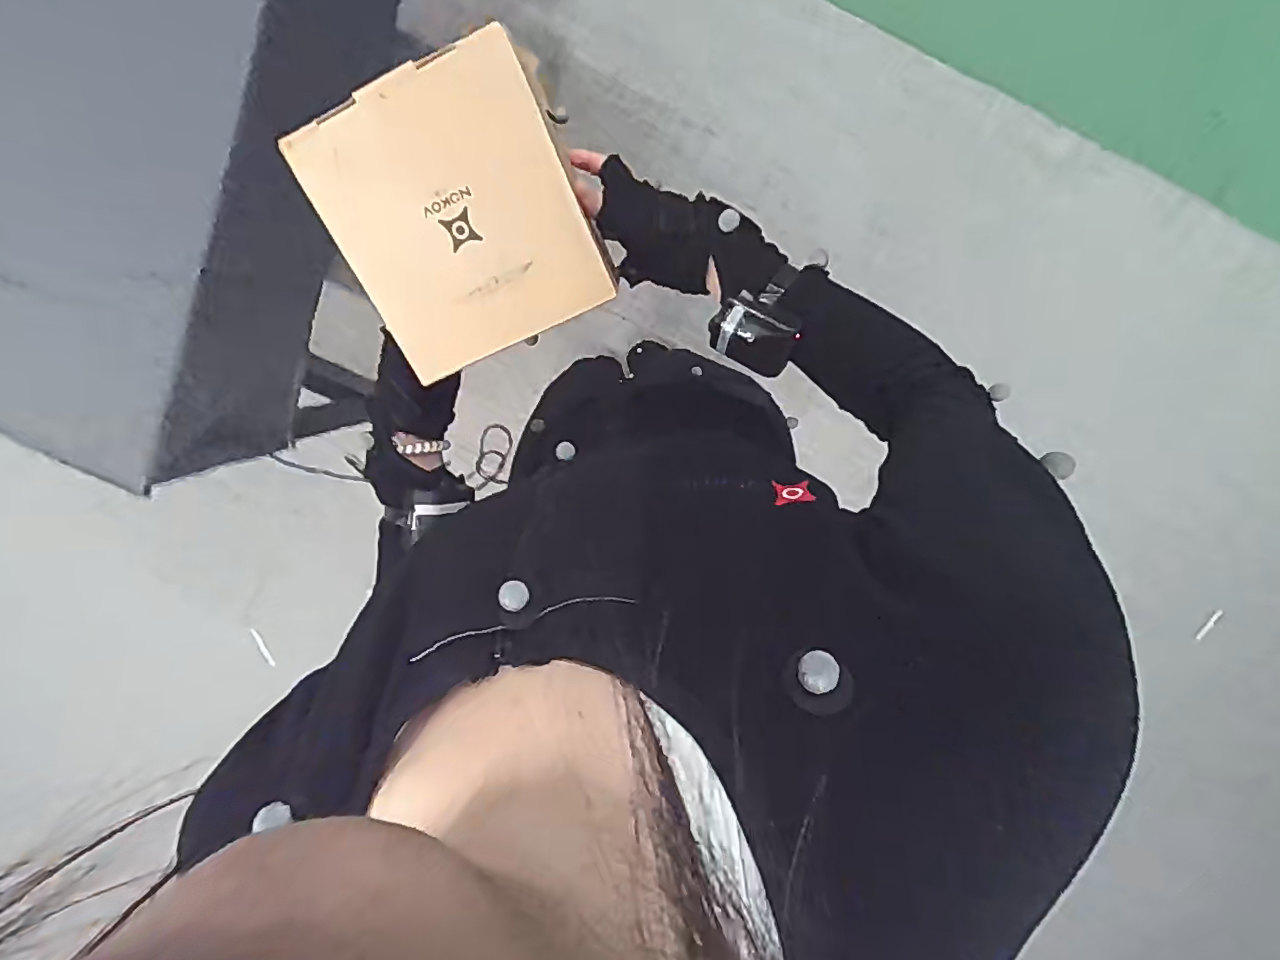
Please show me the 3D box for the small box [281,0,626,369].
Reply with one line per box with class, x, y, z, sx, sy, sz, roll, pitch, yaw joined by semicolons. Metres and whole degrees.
small box;-0.119;-0.212;0.426;0.168;0.176;0.179;-20;114;7
